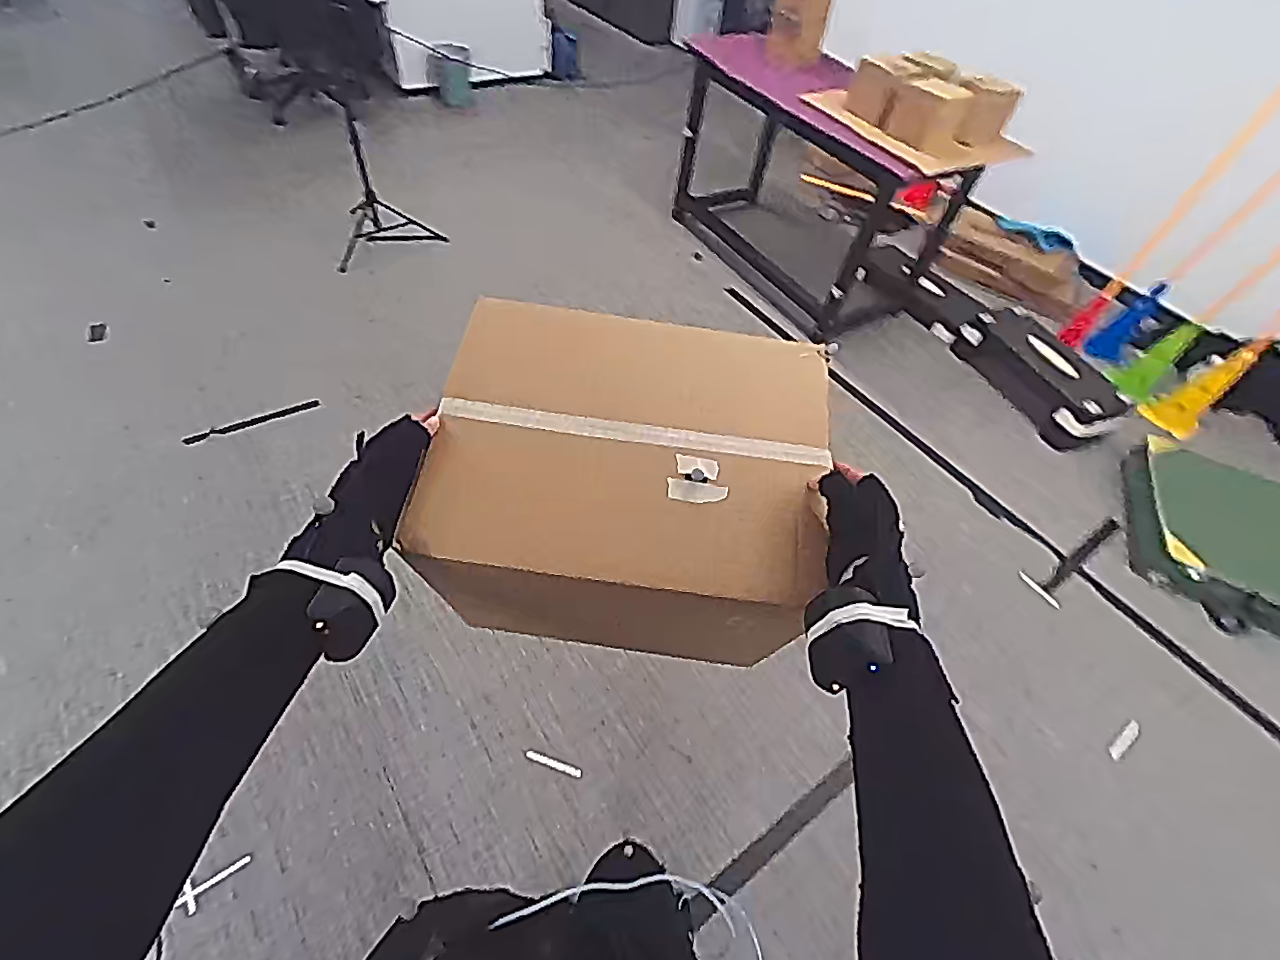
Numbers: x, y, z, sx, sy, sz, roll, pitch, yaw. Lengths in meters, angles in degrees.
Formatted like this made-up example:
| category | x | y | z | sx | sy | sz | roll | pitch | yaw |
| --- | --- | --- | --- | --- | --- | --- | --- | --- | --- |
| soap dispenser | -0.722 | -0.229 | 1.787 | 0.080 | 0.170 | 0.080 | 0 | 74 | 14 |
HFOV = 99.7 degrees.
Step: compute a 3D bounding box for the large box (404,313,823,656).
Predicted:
| category | x | y | z | sx | sy | sz | roll | pitch | yaw |
| --- | --- | --- | --- | --- | --- | --- | --- | --- | --- |
| large box | -0.023 | 0.026 | 0.704 | 0.408 | 0.320 | 0.320 | 8 | 62 | -1 |
